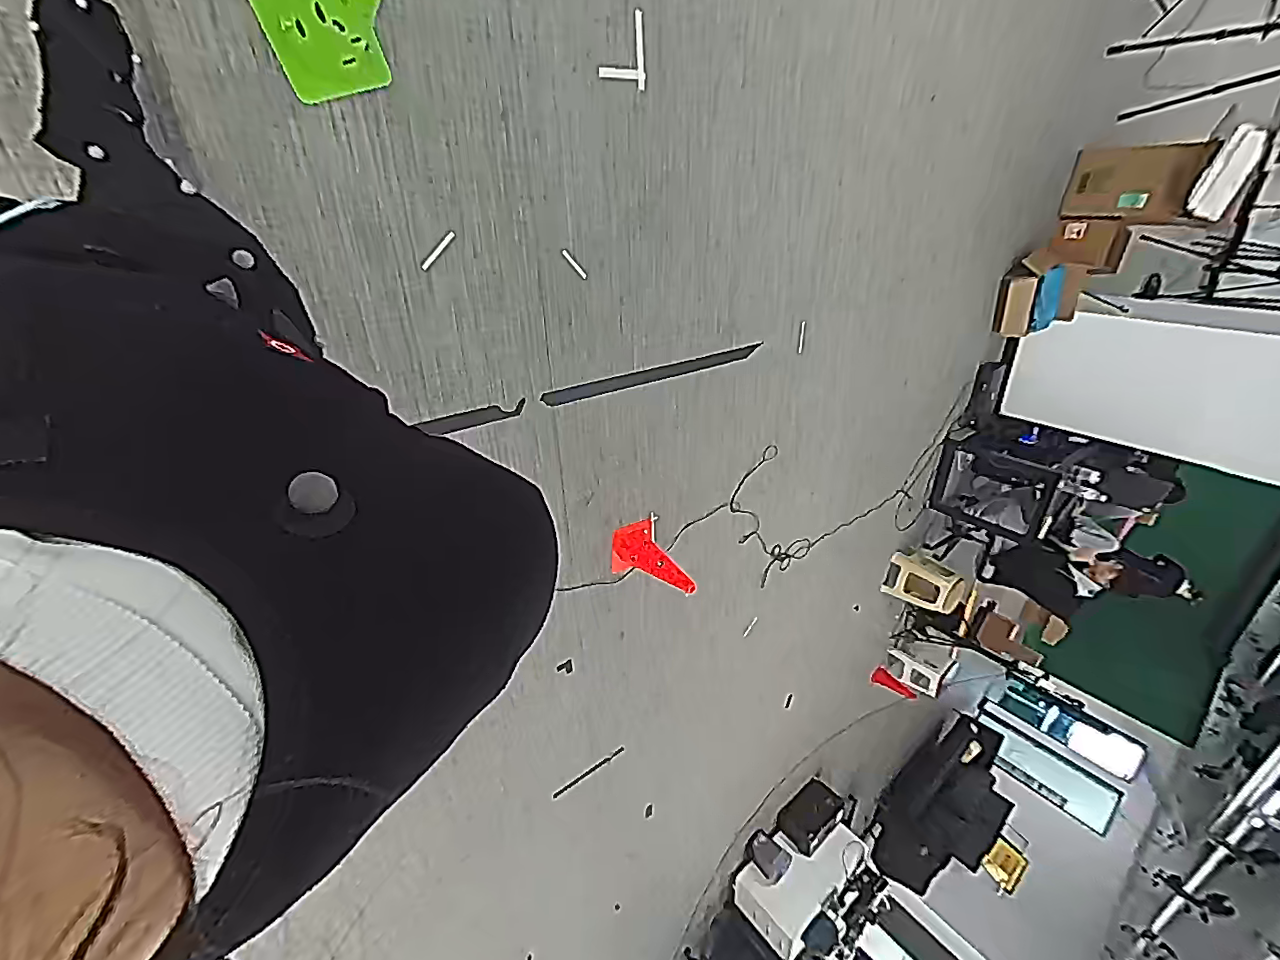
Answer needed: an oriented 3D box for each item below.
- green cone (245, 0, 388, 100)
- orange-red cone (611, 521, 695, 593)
[{"bbox_3d":[-0.513,-0.811,0.930,0.202,0.368,0.200,-37,132,-24],"label":"green cone"},{"bbox_3d":[0.073,0.326,2.033,0.199,0.360,0.198,-13,118,-36],"label":"orange-red cone"}]
